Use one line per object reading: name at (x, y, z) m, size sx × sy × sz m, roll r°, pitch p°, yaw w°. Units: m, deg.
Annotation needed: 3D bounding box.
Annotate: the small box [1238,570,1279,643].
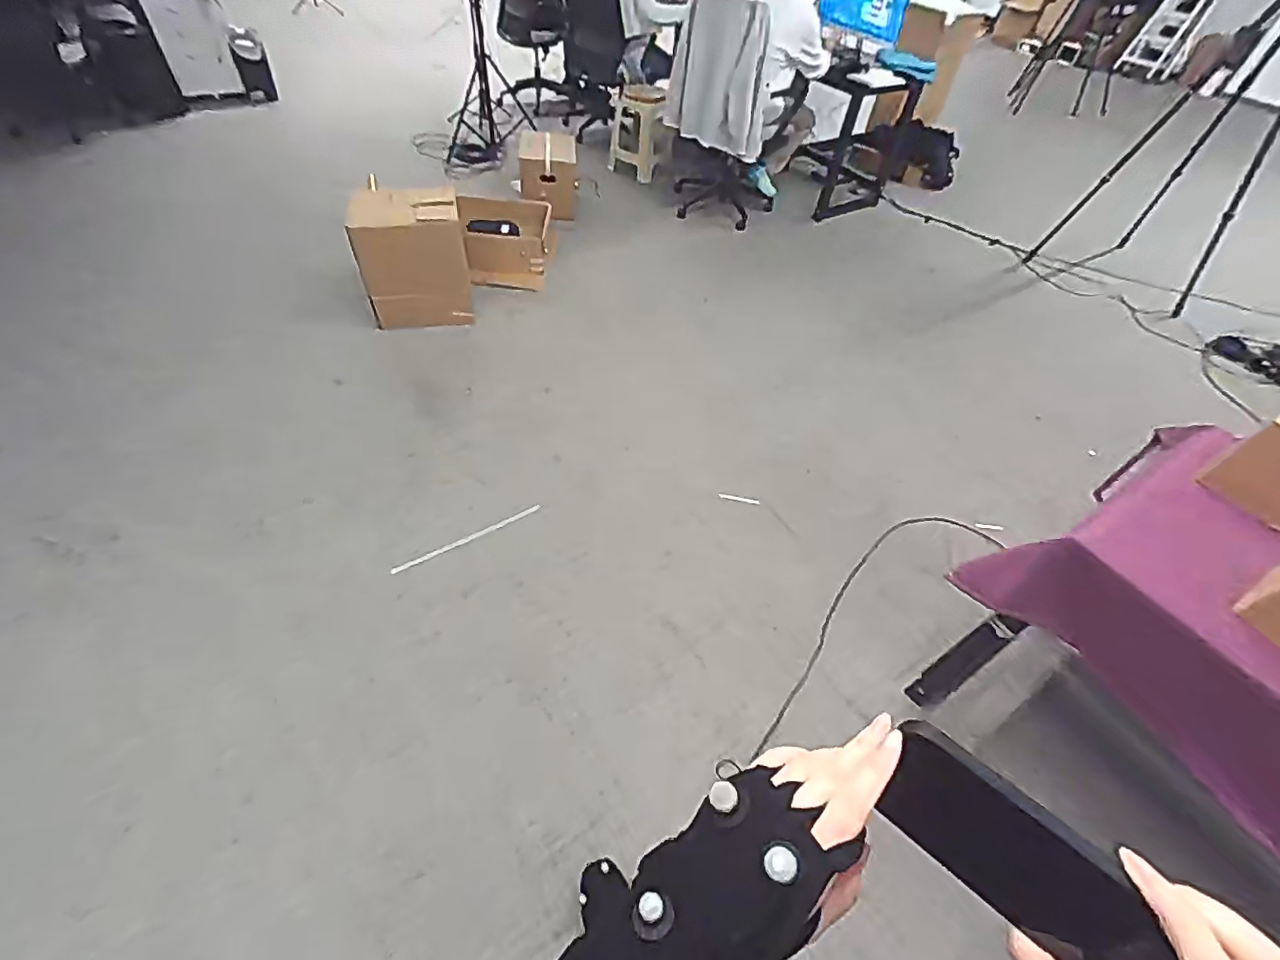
small box at (1.075, 0.193, 0.801) m, size 0.168 × 0.176 × 0.179 m, roll -22°, pitch 56°, yaw -23°
